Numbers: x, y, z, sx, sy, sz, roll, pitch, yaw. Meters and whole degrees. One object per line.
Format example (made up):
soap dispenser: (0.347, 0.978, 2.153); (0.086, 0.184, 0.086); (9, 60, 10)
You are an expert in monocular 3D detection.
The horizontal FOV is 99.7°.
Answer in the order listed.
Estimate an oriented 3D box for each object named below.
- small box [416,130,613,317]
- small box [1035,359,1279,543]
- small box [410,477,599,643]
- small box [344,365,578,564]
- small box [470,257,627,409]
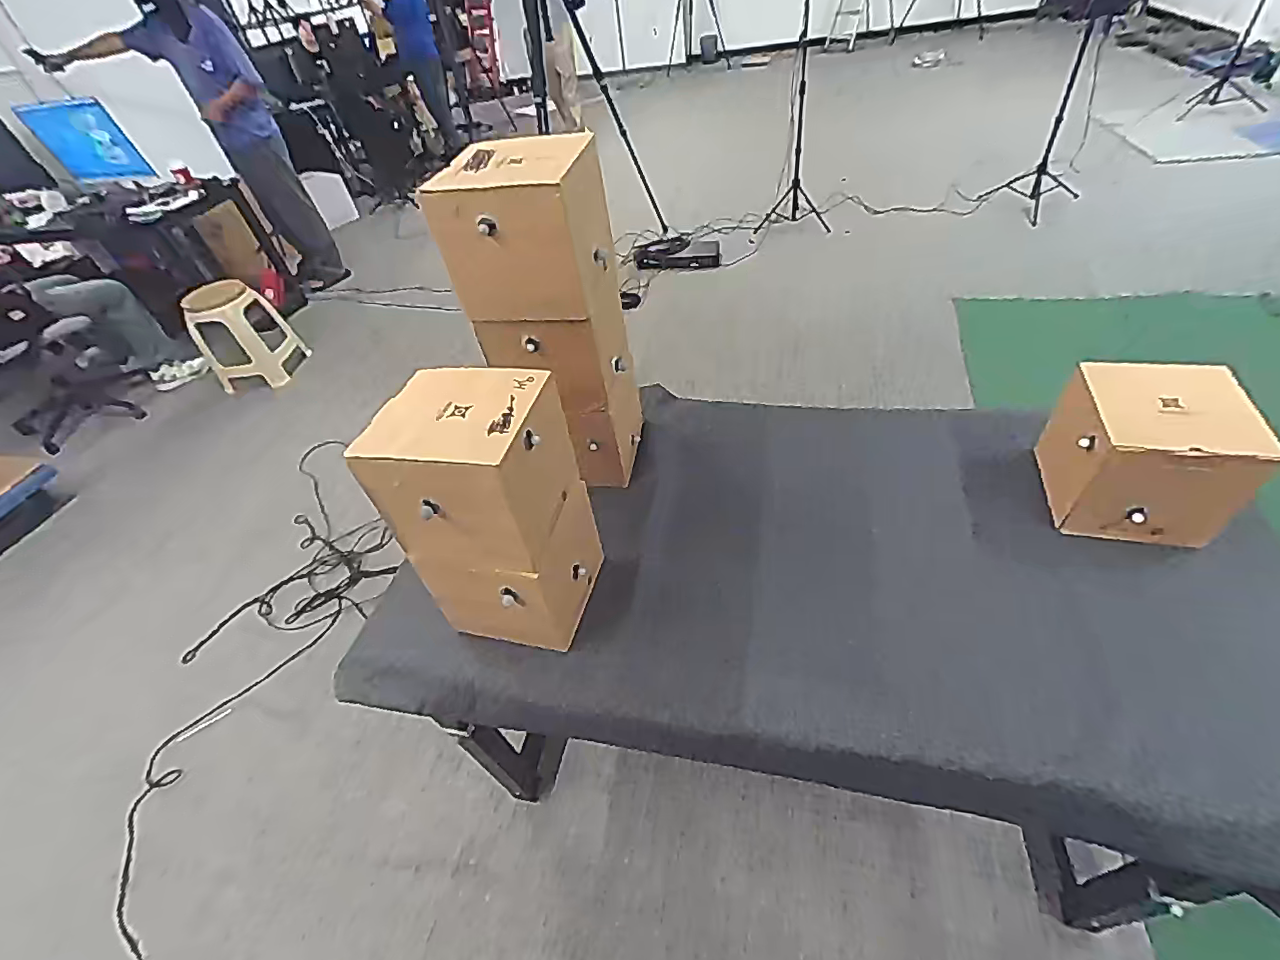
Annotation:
small box: (-0.145, -0.327, 0.700); (0.179, 0.176, 0.168); (4, 49, 12)
small box: (0.670, -0.041, 0.732); (0.168, 0.176, 0.179); (6, 49, 16)
small box: (-0.168, 0.102, 0.741); (0.179, 0.176, 0.168); (6, 45, 15)
small box: (-0.189, -0.018, 0.632); (0.179, 0.176, 0.168); (3, 45, 13)
small box: (-0.126, -0.222, 0.825); (0.179, 0.176, 0.168); (2, 49, 10)
